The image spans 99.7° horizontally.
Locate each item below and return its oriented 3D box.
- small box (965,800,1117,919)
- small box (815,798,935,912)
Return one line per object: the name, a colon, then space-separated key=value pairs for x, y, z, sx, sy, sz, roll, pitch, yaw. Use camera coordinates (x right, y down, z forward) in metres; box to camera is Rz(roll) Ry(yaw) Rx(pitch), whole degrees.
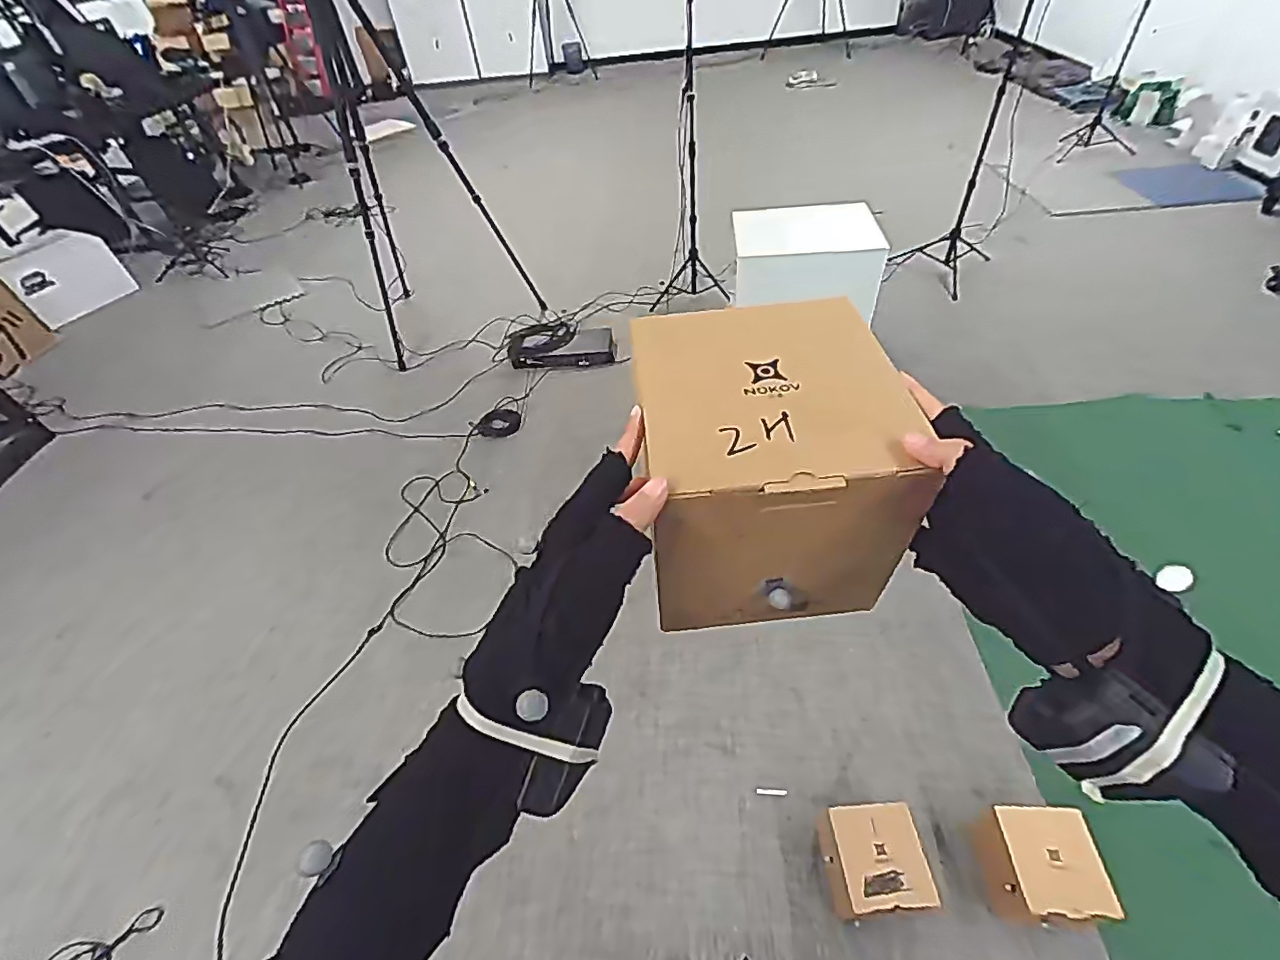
small box: x=0.802 y=0.778 z=1.108 sx=0.168 sy=0.176 sz=0.179 roll=-2 pitch=48 yaw=6
small box: x=0.479 y=0.787 z=1.132 sx=0.168 sy=0.176 sz=0.179 roll=-5 pitch=47 yaw=1
